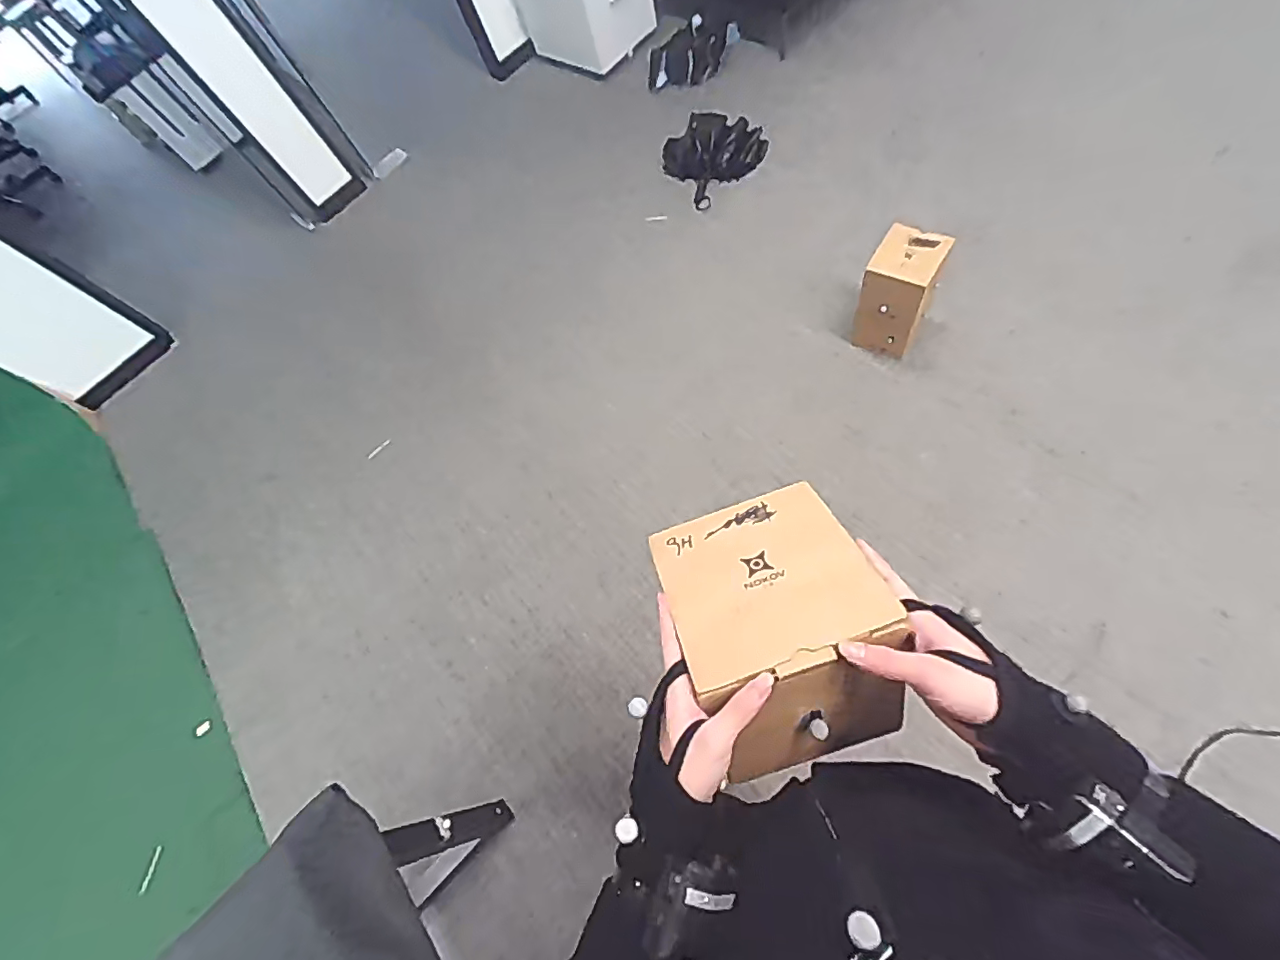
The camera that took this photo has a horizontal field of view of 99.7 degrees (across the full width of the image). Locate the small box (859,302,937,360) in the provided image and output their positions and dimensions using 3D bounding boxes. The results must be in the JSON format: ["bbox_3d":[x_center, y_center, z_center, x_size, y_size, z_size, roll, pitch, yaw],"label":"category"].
[{"bbox_3d":[0.778,-0.492,1.627,0.168,0.176,0.179,28,75,24],"label":"small box"}]

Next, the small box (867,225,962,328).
[{"bbox_3d":[0.739,-0.553,1.479,0.168,0.176,0.179,29,78,25],"label":"small box"}]
